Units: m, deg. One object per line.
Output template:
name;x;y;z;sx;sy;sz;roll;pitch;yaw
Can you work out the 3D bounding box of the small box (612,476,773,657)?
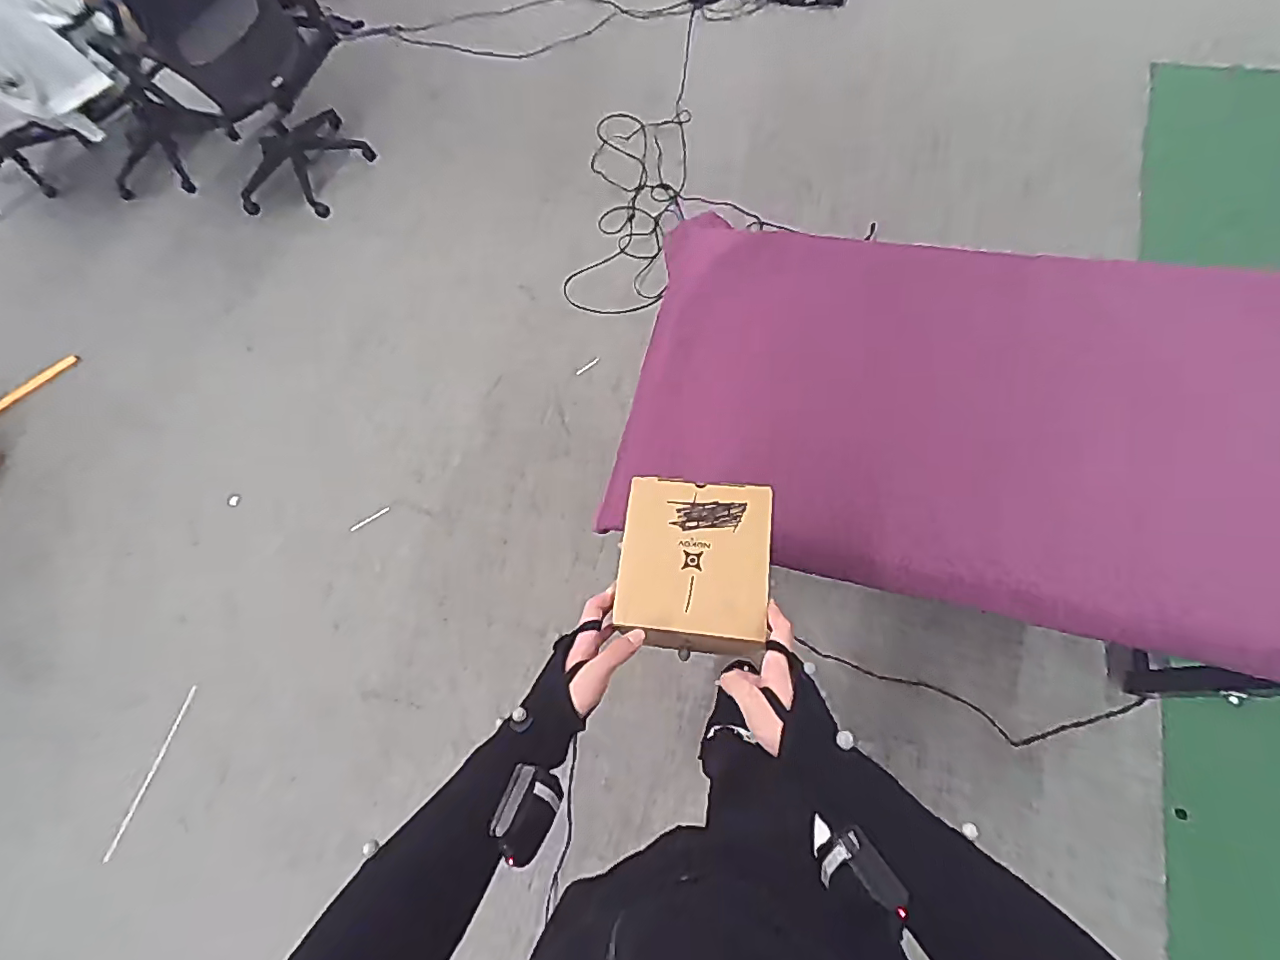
small box;0.070;0.112;0.675;0.168;0.176;0.179;4;67;9
